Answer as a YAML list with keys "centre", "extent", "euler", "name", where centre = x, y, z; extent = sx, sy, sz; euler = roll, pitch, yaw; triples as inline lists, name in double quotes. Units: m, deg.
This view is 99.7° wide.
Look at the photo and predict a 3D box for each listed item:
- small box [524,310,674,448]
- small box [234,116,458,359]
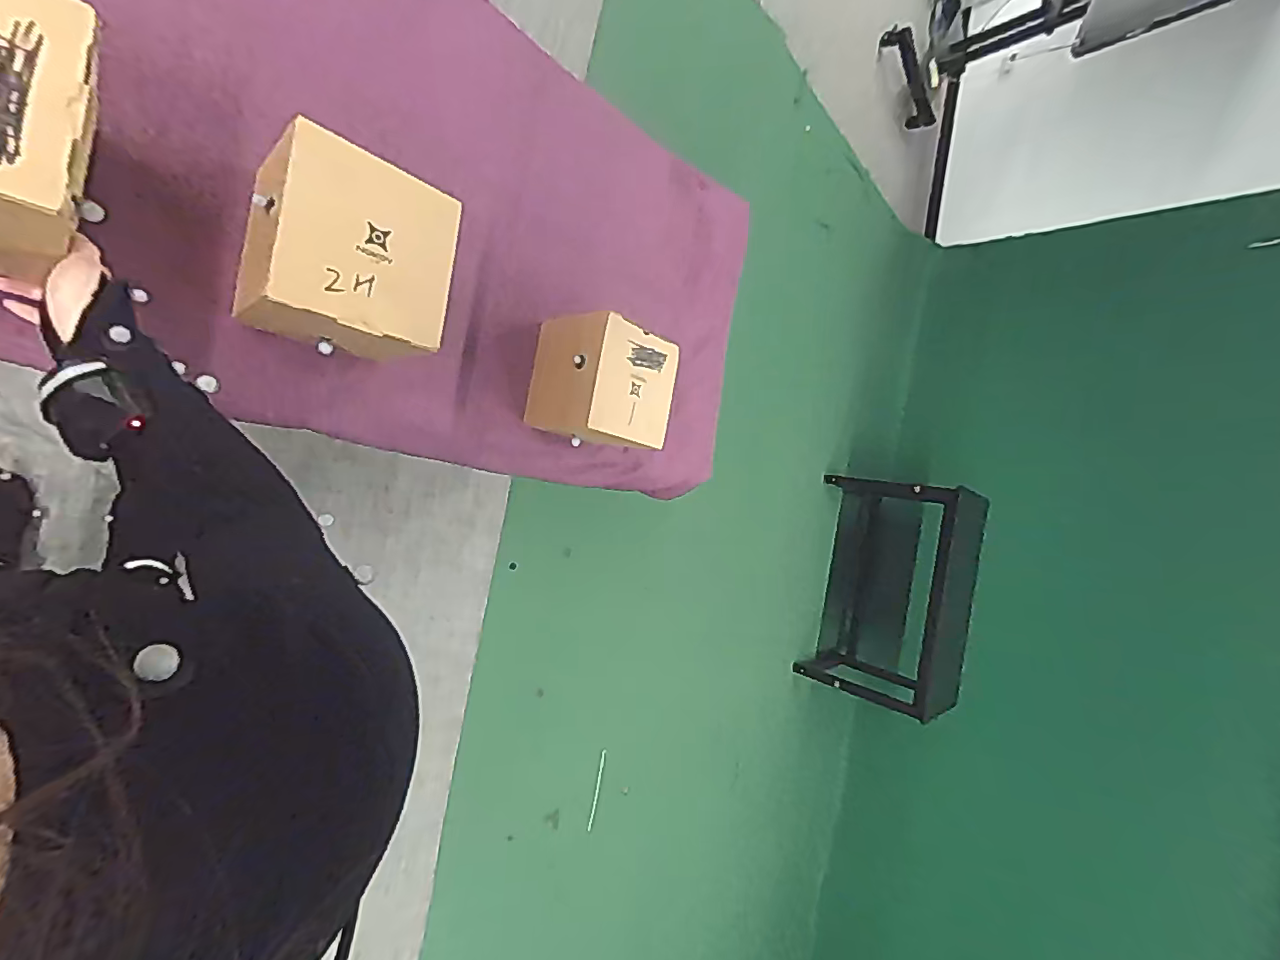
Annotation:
- centre: [-0.070, -0.158, 0.888]
  extent: [0.168, 0.176, 0.179]
  euler: [13, 87, -46]
  name: "small box"
- centre: [-0.329, -0.246, 0.604]
  extent: [0.168, 0.176, 0.179]
  euler: [10, 87, -46]
  name: "small box"
